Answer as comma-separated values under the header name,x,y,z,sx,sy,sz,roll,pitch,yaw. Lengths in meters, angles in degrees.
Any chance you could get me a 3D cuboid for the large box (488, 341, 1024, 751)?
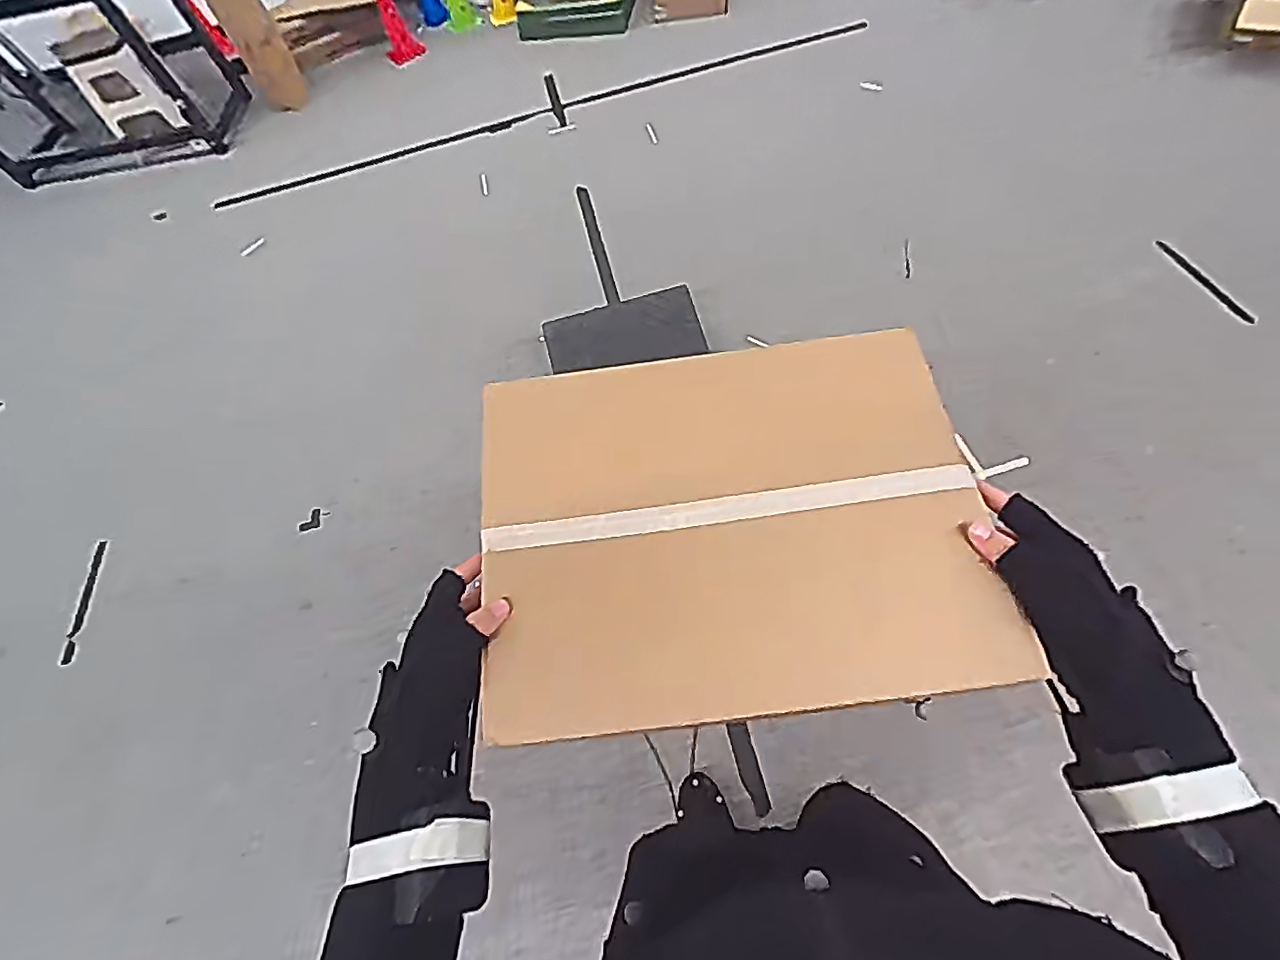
name,x,y,z,sx,sy,sz,roll,pitch,yaw
large box,0.080,0.091,0.591,0.408,0.320,0.320,-7,65,1
